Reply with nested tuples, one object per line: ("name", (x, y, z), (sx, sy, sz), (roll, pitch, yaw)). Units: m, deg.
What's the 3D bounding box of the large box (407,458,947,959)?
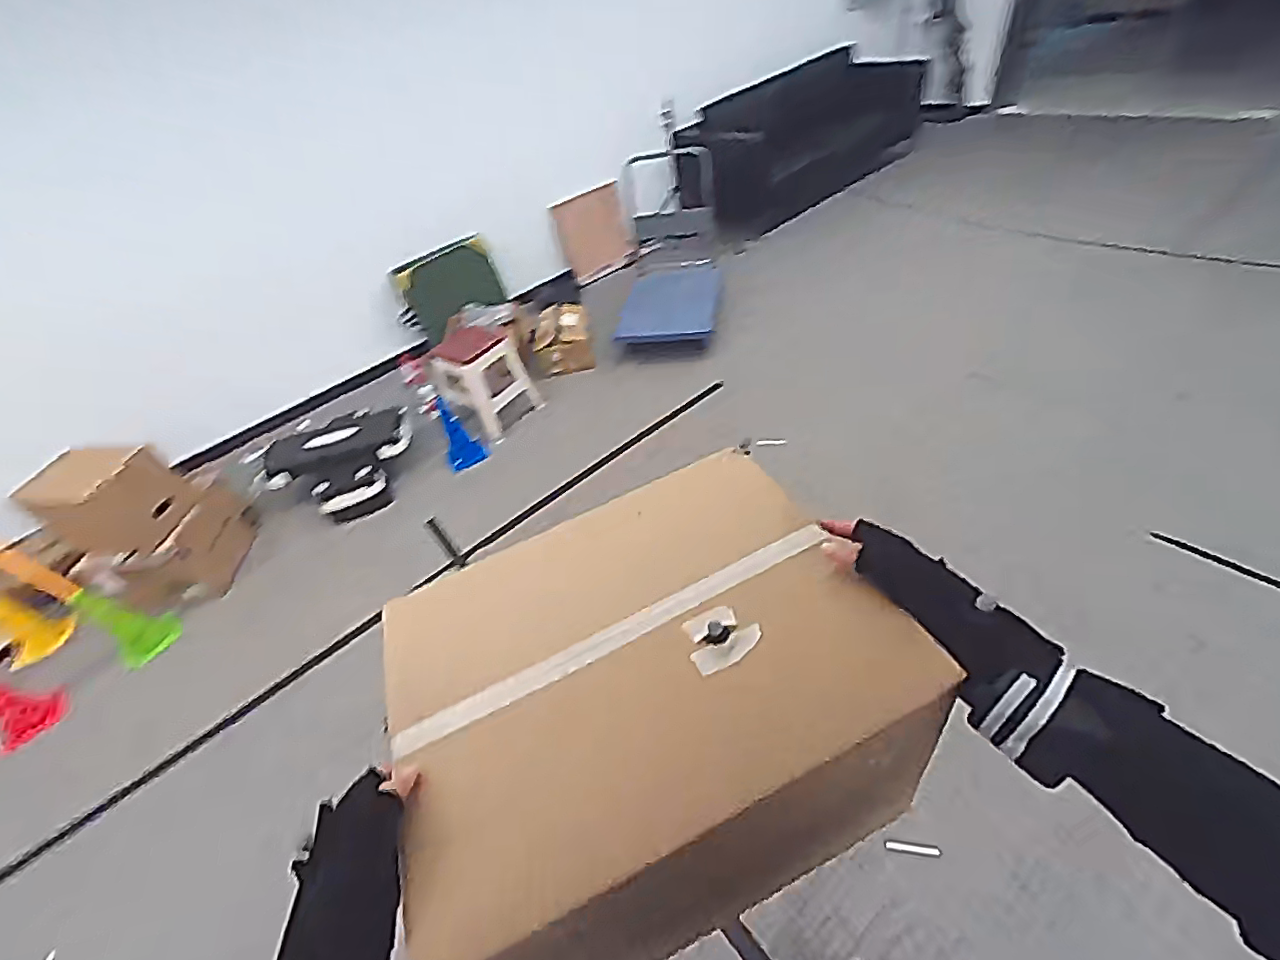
("large box", (0.026, 0.247, 0.575), (0.408, 0.320, 0.320), (-24, 43, -9))
